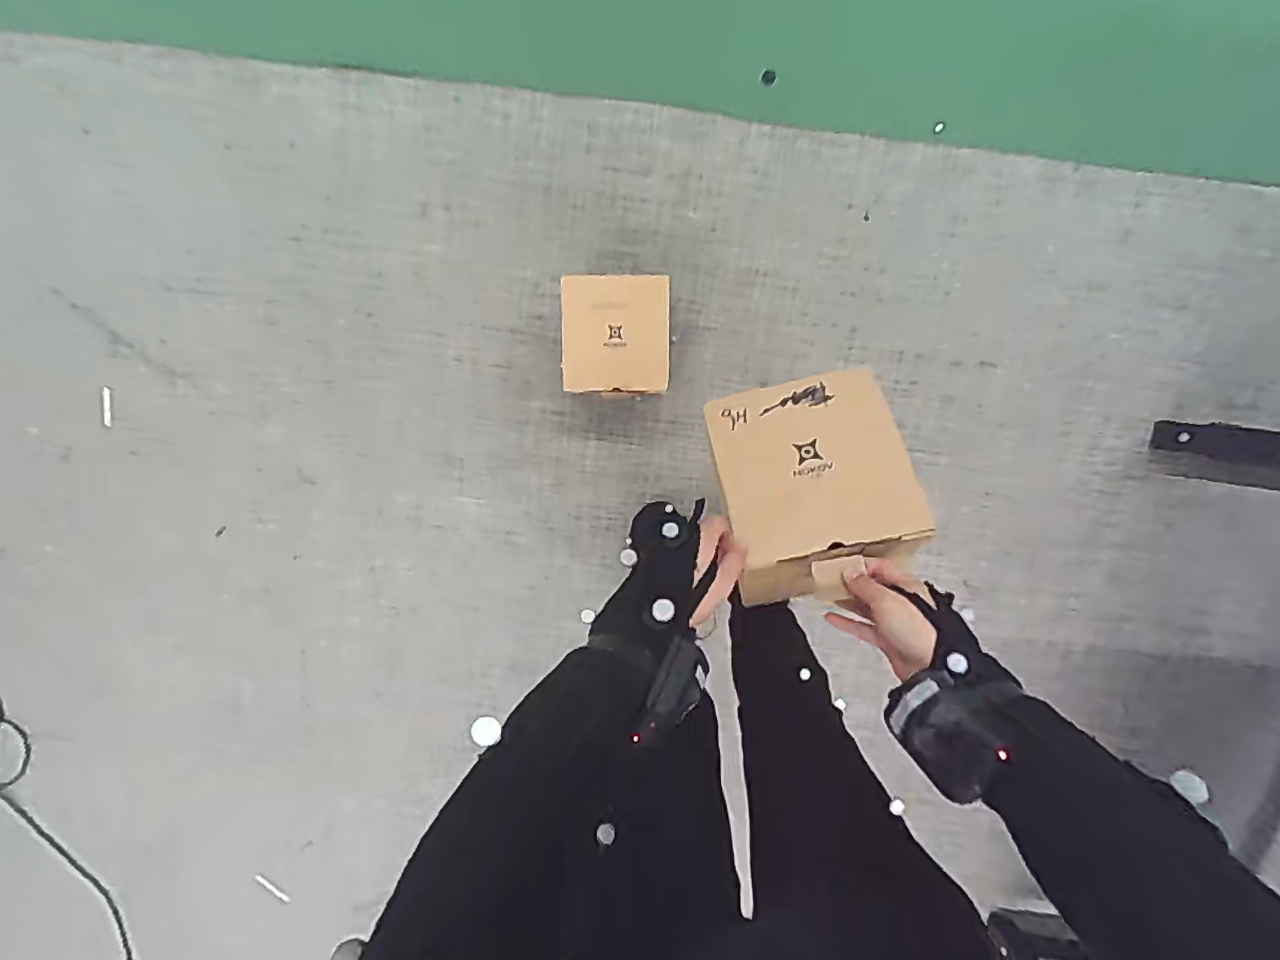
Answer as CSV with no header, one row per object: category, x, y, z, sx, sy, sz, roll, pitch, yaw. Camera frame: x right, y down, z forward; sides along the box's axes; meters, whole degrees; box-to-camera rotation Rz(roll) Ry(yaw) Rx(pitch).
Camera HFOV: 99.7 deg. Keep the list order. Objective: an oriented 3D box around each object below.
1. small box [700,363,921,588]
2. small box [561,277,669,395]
small box,0.166,0.010,0.572,0.168,0.176,0.179,-12,66,7
small box,-0.037,-0.235,0.905,0.168,0.176,0.179,0,100,0
